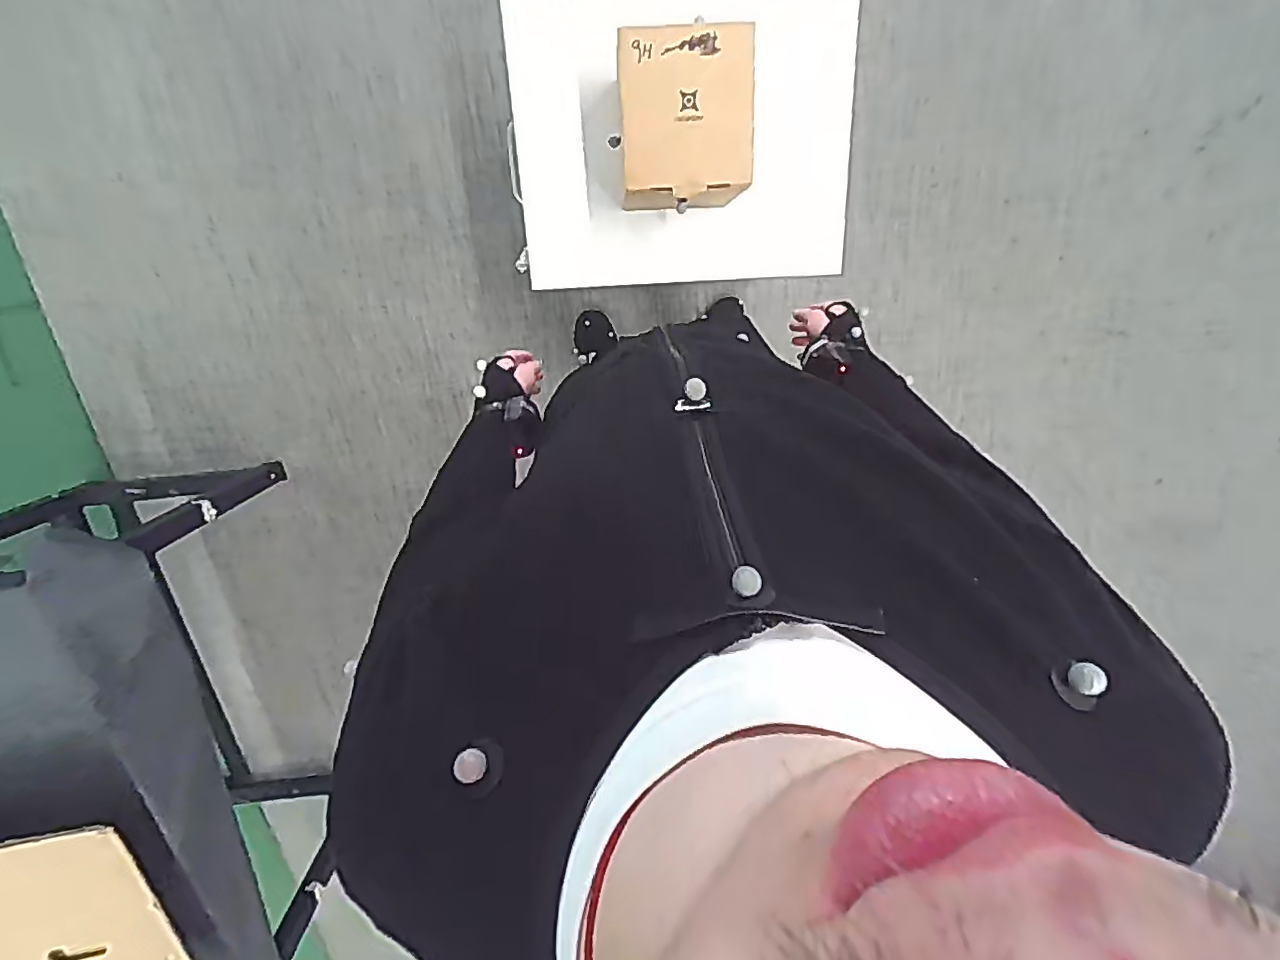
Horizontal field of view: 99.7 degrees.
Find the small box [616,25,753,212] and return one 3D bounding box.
[{"bbox_3d":[0.058,-0.478,0.745,0.168,0.176,0.179,-5,108,0],"label":"small box"}]
